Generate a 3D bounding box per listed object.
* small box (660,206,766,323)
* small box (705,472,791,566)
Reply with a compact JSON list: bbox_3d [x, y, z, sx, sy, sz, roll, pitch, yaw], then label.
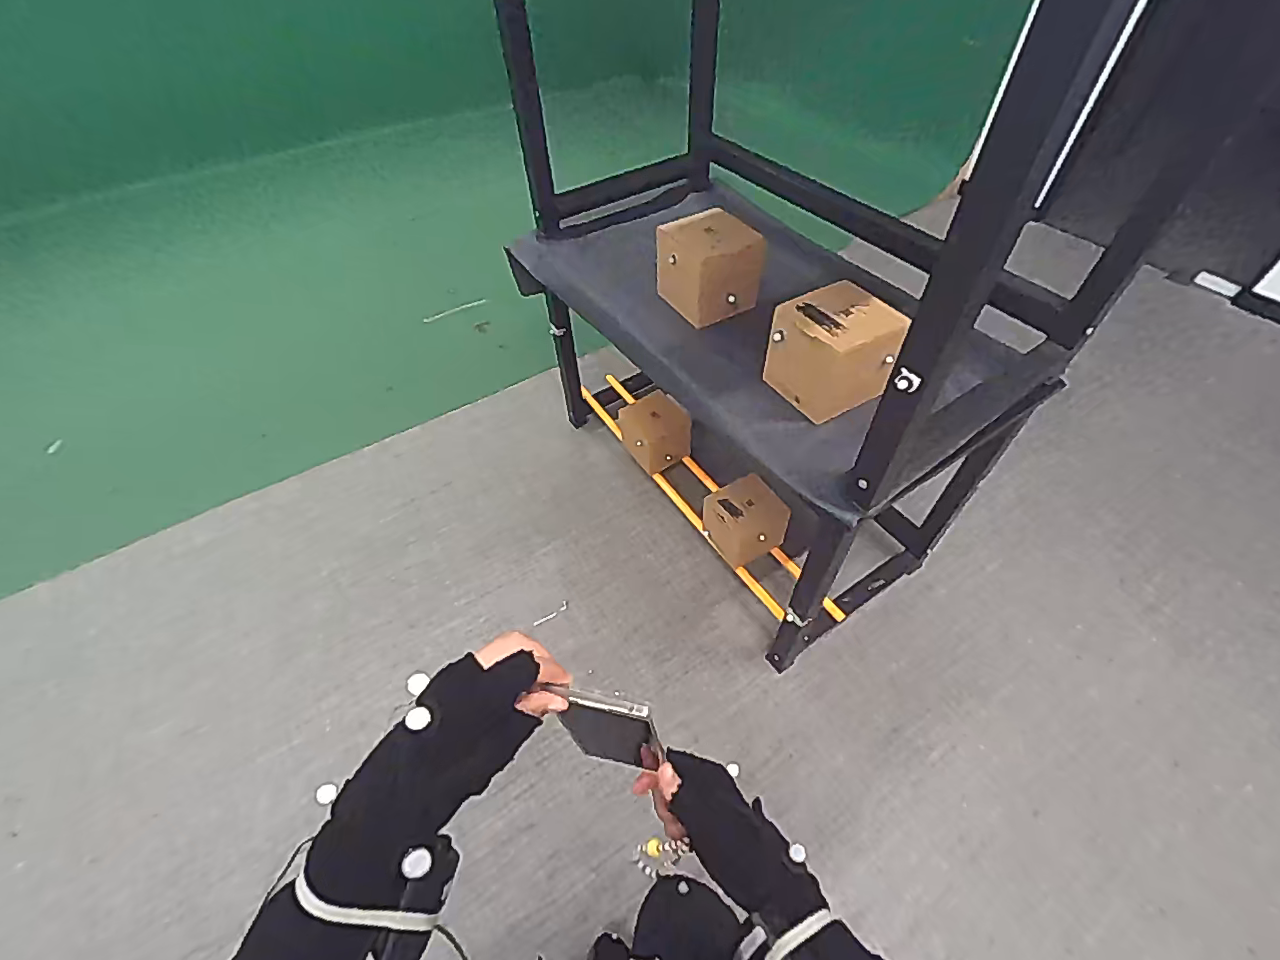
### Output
[{"bbox_3d":[0.155,-0.481,1.214,0.168,0.176,0.179,-26,54,-17],"label":"small box"},{"bbox_3d":[0.298,0.114,1.526,0.179,0.176,0.168,-25,54,-16],"label":"small box"}]
